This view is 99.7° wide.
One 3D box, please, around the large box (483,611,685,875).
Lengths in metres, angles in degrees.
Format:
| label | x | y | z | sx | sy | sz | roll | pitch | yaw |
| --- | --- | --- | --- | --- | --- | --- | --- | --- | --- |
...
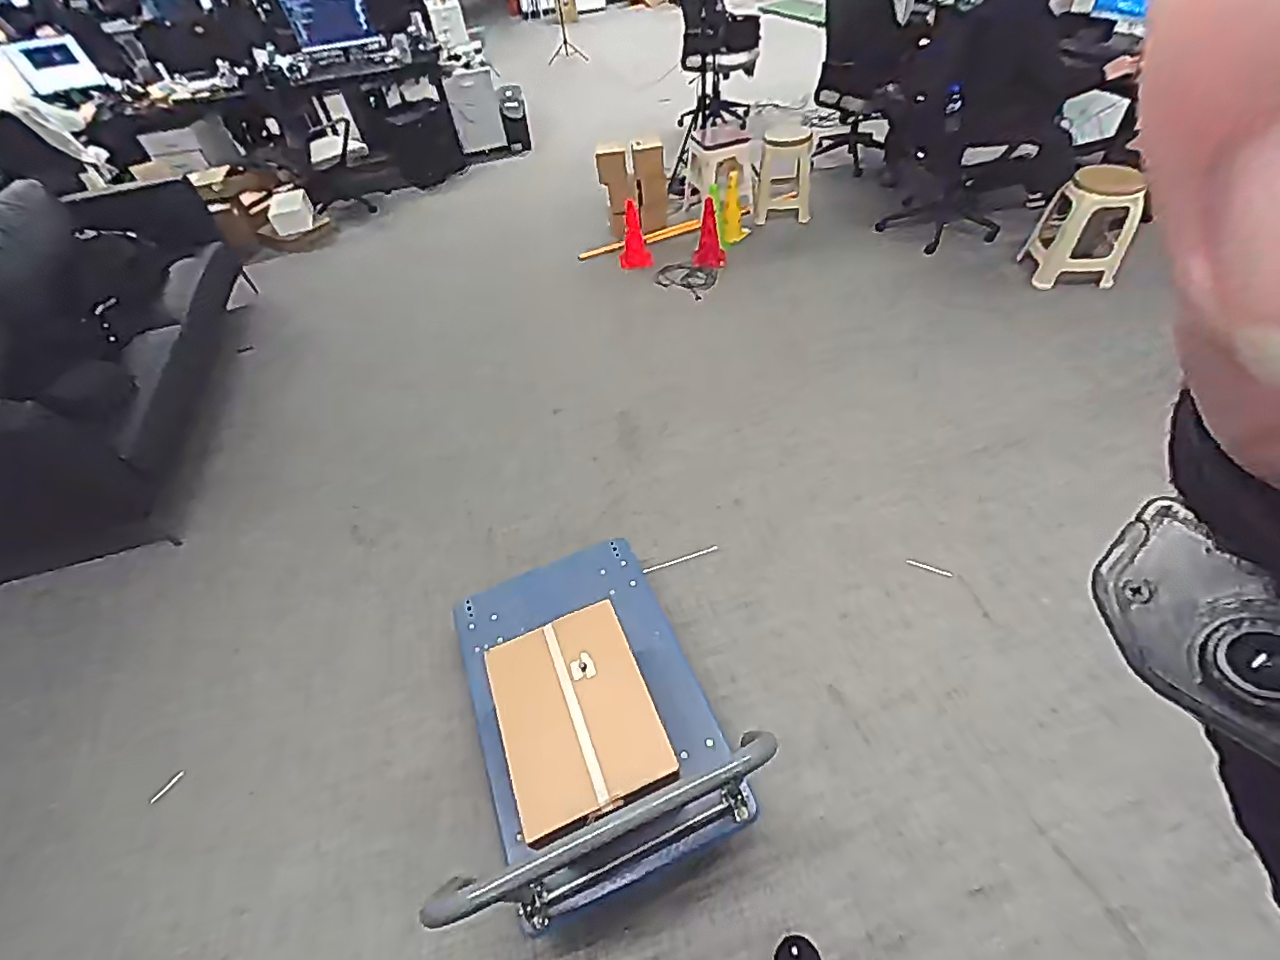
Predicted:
| label | x | y | z | sx | sy | sz | roll | pitch | yaw |
| --- | --- | --- | --- | --- | --- | --- | --- | --- | --- |
| large box | -0.125 | 0.593 | 1.240 | 0.320 | 0.320 | 0.408 | -21 | 48 | -11 |
